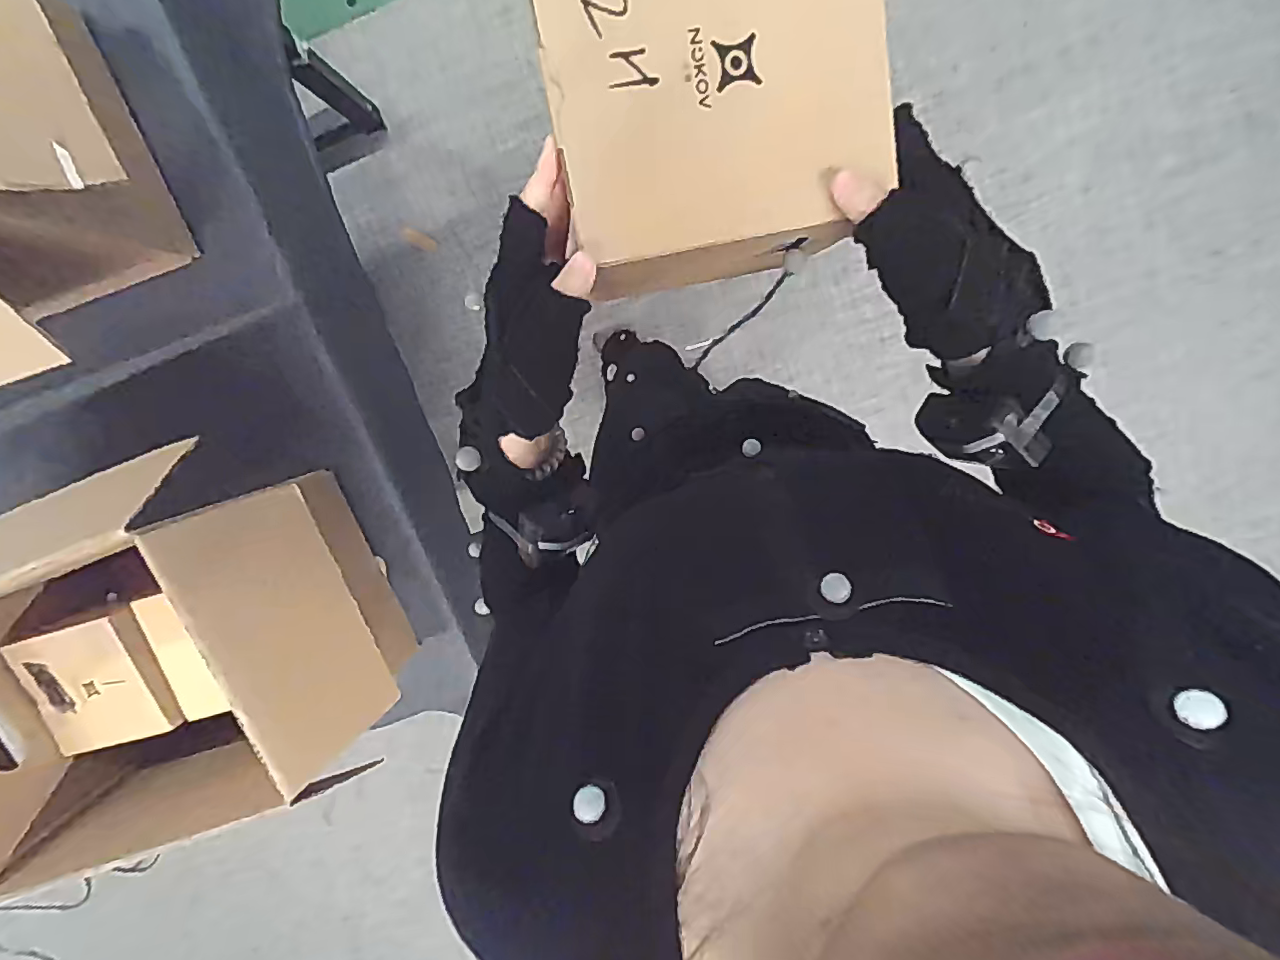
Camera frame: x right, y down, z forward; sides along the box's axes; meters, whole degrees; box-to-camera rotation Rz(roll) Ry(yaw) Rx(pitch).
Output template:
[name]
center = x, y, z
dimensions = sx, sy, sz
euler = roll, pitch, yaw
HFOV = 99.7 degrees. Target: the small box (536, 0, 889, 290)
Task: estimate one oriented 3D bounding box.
[small box]
center = 0.033, -0.230, 0.353
dimensions = 0.179, 0.176, 0.168
euler = -10, 102, -2
